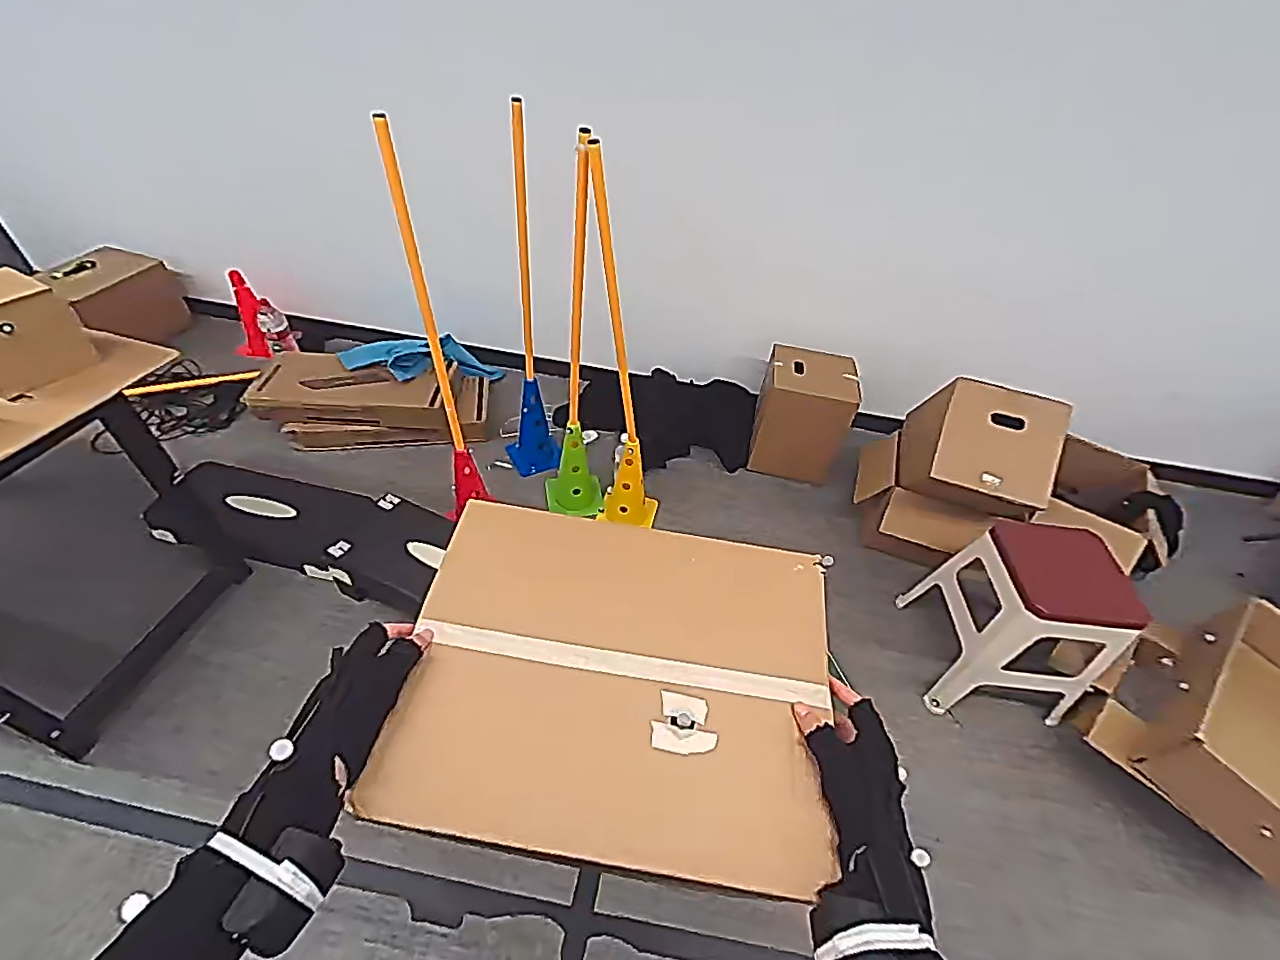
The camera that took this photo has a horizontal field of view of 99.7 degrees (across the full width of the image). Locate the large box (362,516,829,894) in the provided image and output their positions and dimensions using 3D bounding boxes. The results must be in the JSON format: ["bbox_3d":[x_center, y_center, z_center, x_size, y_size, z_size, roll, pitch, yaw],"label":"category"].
[{"bbox_3d":[-0.032,0.278,0.654,0.408,0.320,0.320,9,54,2],"label":"large box"}]
